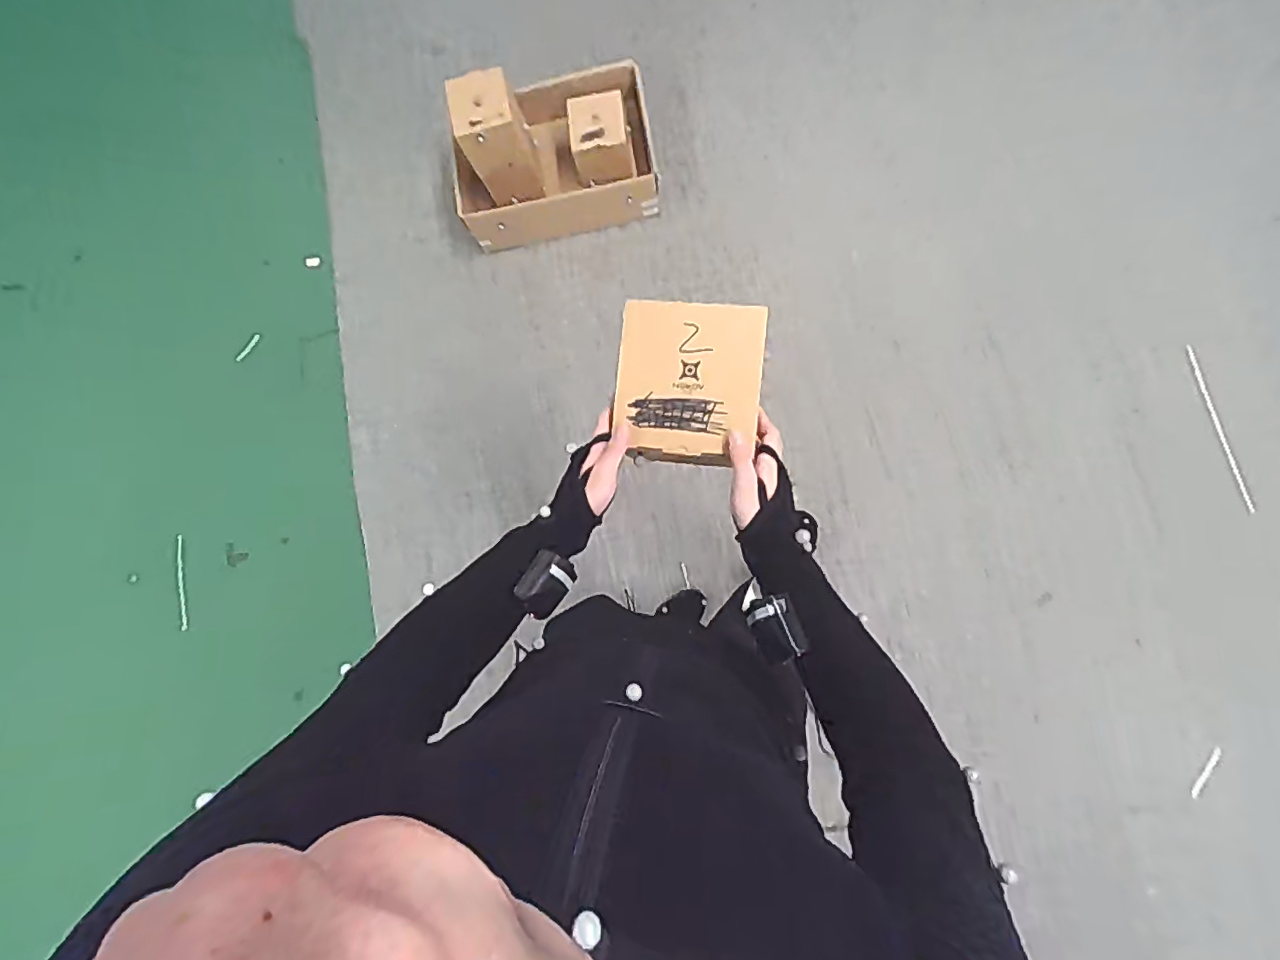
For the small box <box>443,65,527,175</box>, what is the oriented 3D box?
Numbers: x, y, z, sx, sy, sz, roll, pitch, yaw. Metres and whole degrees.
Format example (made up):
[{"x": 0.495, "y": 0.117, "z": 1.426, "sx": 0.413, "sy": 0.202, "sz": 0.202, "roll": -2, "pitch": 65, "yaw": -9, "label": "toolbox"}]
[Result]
[{"x": -0.435, "y": -1.013, "z": 1.533, "sx": 0.168, "sy": 0.176, "sz": 0.179, "roll": -13, "pitch": 81, "yaw": 5, "label": "small box"}]
